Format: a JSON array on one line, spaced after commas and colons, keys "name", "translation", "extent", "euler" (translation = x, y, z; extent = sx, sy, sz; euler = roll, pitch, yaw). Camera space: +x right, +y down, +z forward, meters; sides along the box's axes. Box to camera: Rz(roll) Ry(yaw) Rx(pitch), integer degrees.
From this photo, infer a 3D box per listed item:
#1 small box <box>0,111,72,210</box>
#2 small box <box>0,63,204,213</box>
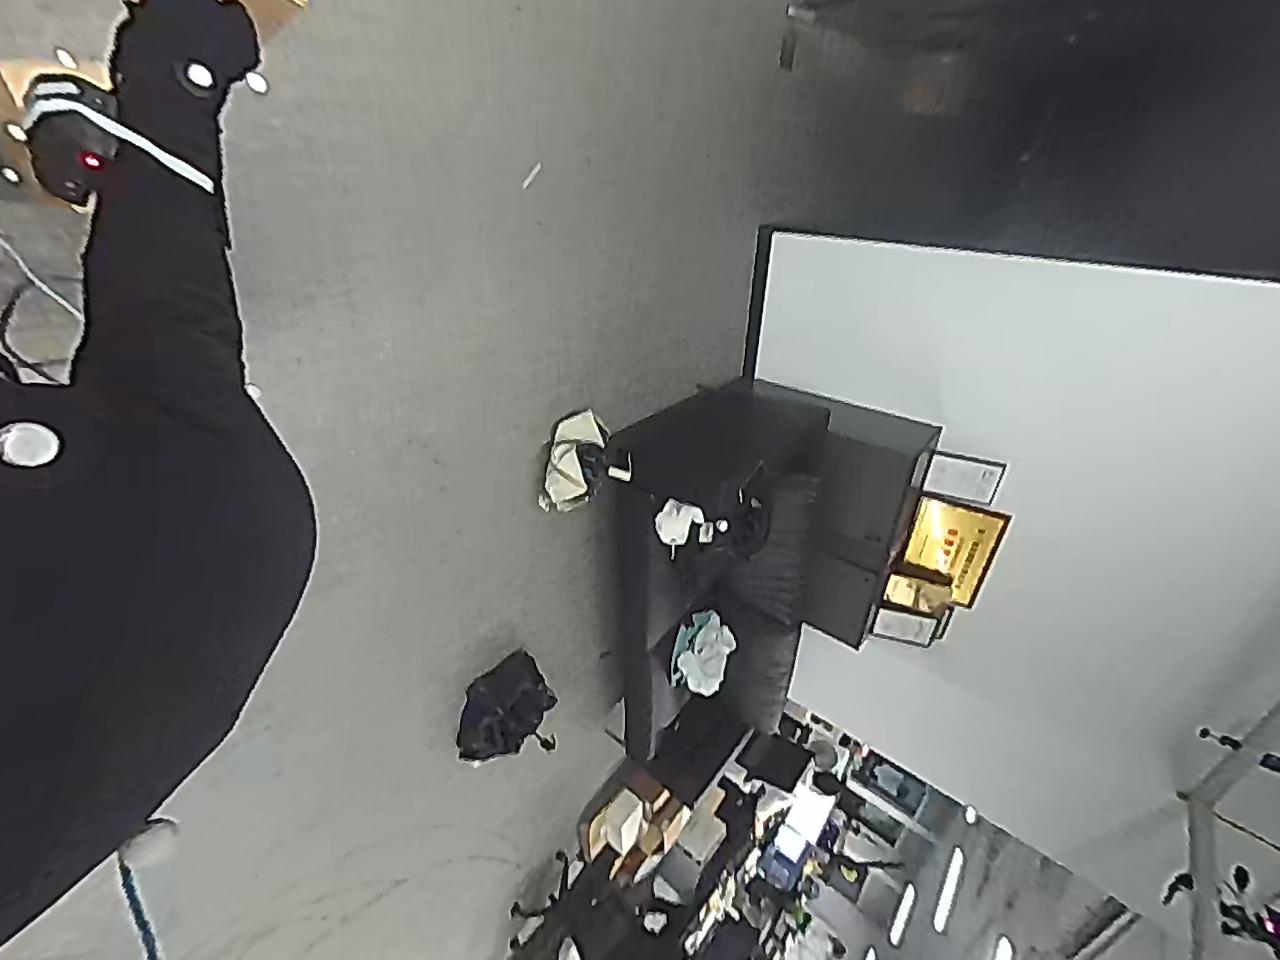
[{"name": "small box", "translation": [-0.956, -0.563, 0.904], "extent": [0.168, 0.176, 0.179], "euler": [-34, 136, -40]}, {"name": "small box", "translation": [-0.822, -0.514, 0.822], "extent": [0.168, 0.176, 0.179], "euler": [-34, 136, -40]}]
